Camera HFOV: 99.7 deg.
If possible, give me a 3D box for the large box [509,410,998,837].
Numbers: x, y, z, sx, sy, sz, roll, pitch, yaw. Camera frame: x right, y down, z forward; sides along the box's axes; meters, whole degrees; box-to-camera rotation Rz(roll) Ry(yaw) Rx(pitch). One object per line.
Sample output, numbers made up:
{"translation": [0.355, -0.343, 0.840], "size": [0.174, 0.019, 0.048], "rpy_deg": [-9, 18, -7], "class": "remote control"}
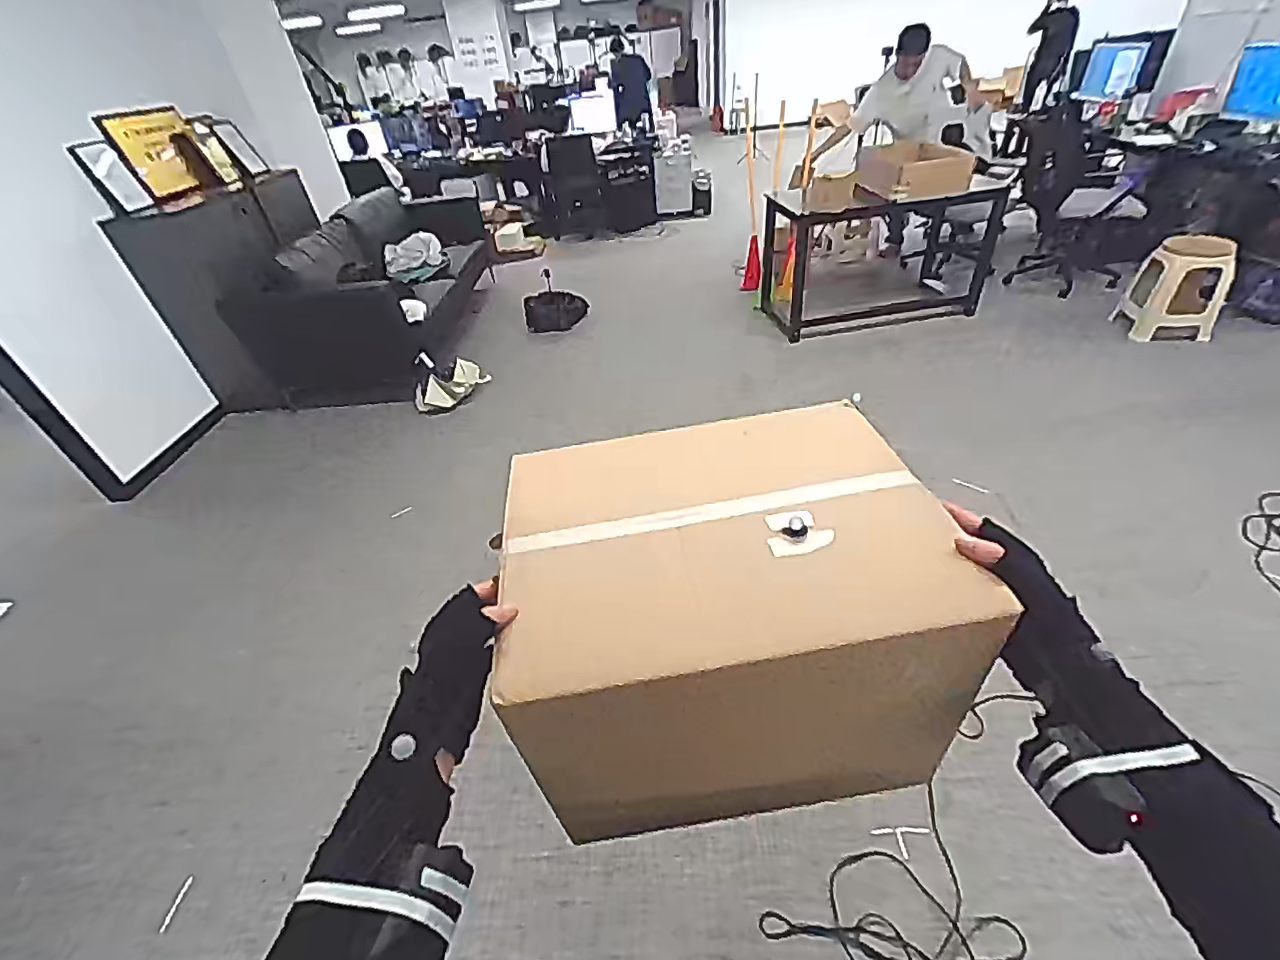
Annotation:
{"translation": [0.087, 0.155, 0.627], "size": [0.408, 0.320, 0.320], "rpy_deg": [-9, 39, -2], "class": "large box"}
